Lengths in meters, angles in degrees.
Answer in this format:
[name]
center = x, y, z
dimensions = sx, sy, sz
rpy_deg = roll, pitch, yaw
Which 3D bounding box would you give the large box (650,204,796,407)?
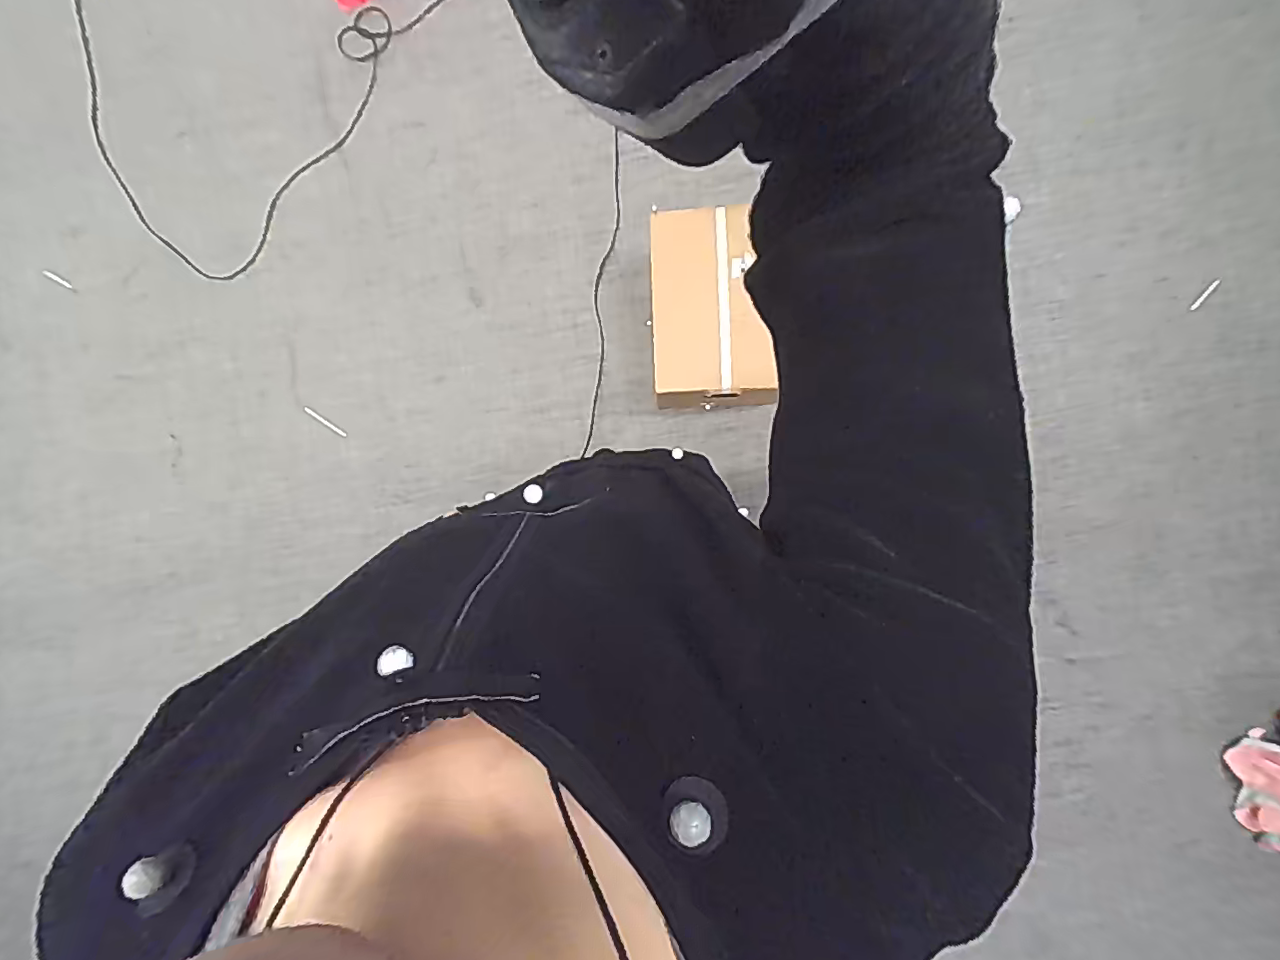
[large box]
center = 0.191, -0.404, 1.344
dimensions = 0.320, 0.320, 0.408
rpy_deg = -1, 91, 2
